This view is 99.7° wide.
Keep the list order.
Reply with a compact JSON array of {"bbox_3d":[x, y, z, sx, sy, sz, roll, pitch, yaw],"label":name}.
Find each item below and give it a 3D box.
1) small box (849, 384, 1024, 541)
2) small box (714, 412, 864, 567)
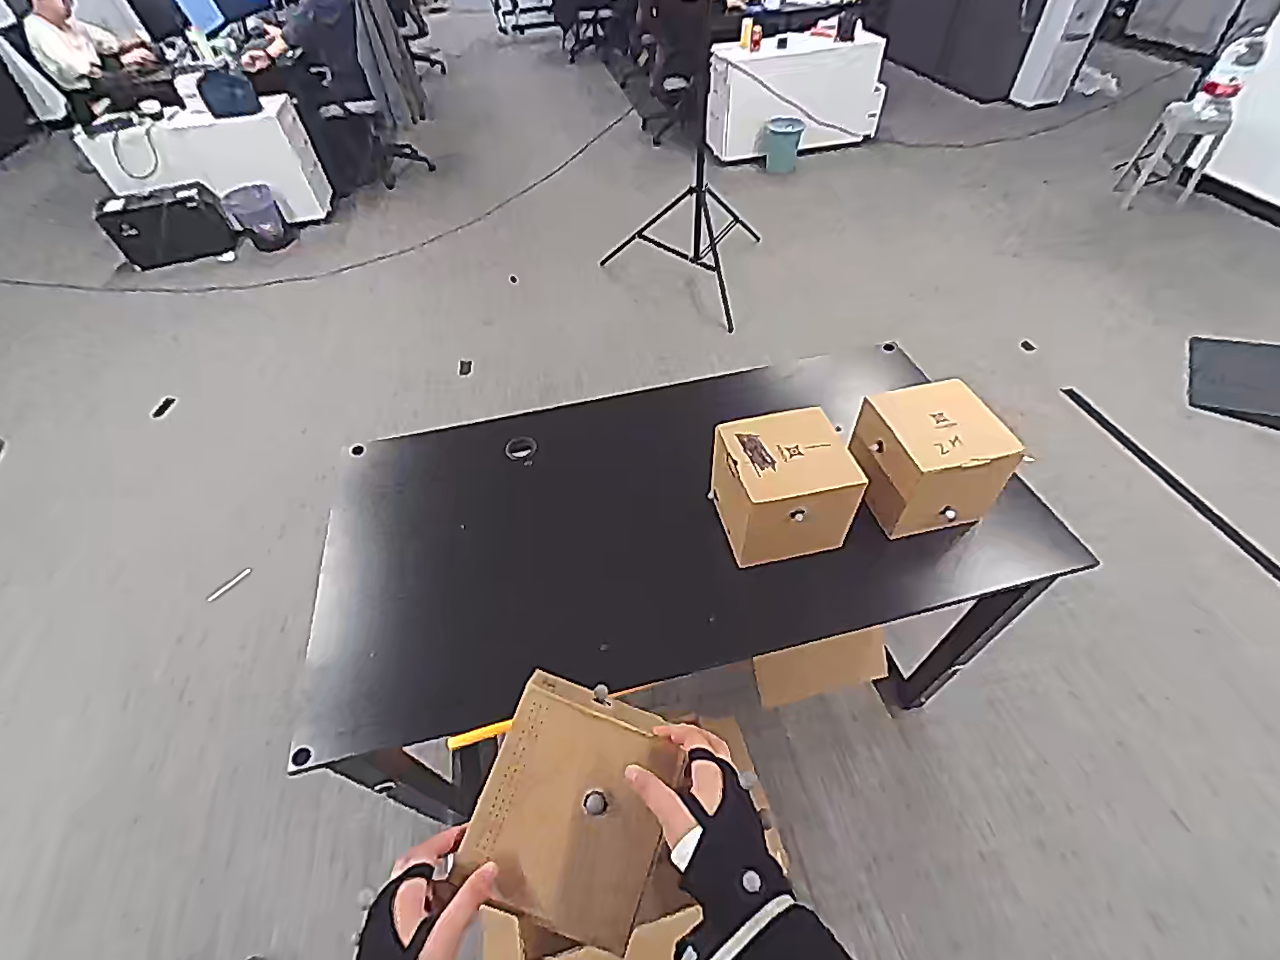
[{"bbox_3d":[0.461,-0.028,0.883,0.168,0.176,0.179,-11,49,-5],"label":"small box"},{"bbox_3d":[0.221,0.020,0.860,0.179,0.176,0.168,-10,49,-6],"label":"small box"}]
